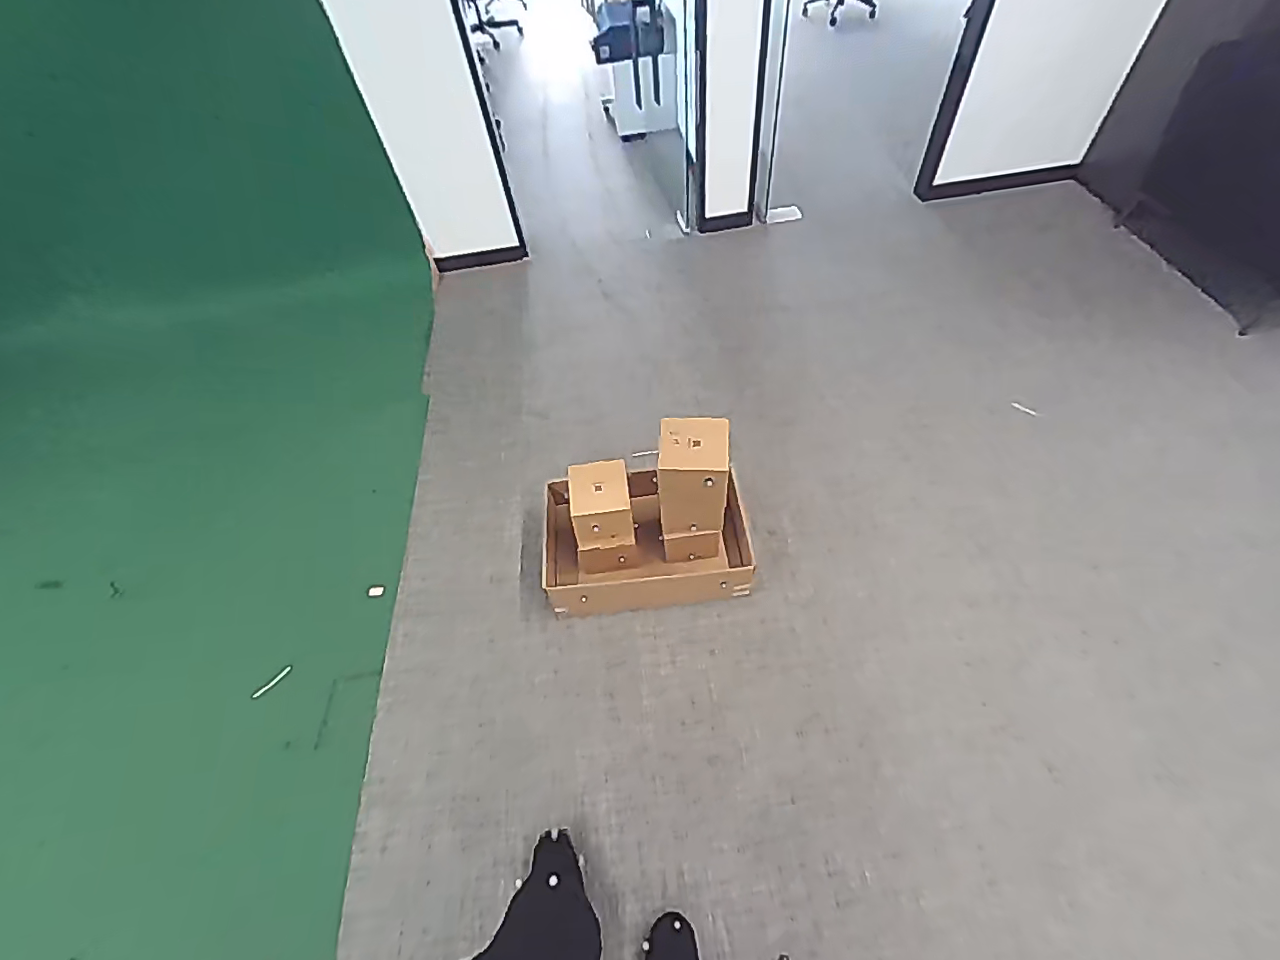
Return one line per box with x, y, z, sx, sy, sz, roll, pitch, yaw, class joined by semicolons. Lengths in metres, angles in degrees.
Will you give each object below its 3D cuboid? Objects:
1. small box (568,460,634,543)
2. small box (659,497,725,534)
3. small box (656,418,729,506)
-0.112;0.068;1.562;0.168;0.176;0.179;-8;54;-2;small box
0.143;0.042;1.550;0.179;0.176;0.168;-5;55;3;small box
0.140;-0.043;1.408;0.179;0.176;0.168;1;55;8;small box
